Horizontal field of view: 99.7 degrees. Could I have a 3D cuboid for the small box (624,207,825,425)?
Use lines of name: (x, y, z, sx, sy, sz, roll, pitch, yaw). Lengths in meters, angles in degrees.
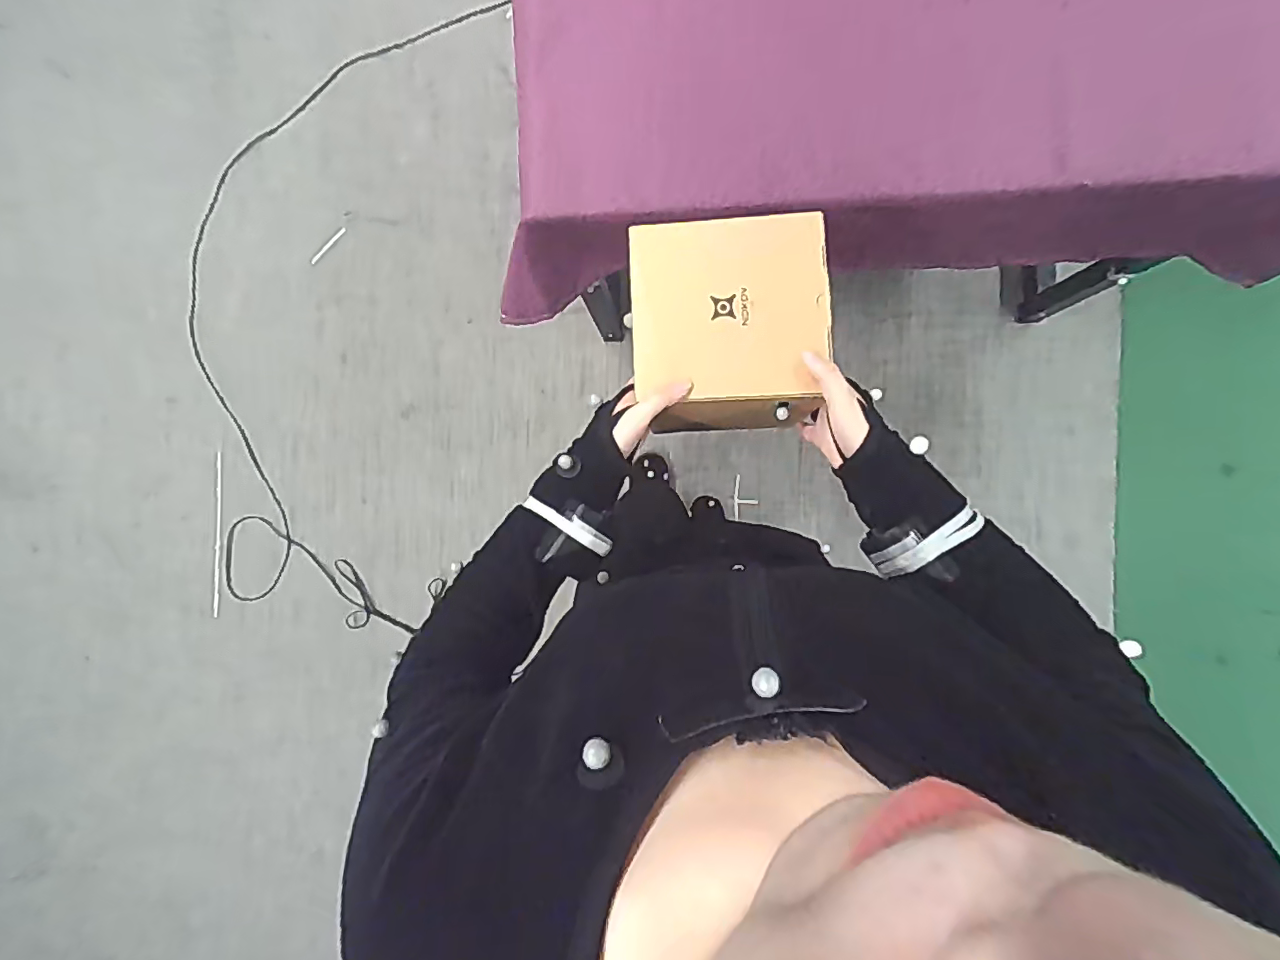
small box: (0.082, -0.153, 0.561, 0.179, 0.176, 0.168, -2, 85, 6)
